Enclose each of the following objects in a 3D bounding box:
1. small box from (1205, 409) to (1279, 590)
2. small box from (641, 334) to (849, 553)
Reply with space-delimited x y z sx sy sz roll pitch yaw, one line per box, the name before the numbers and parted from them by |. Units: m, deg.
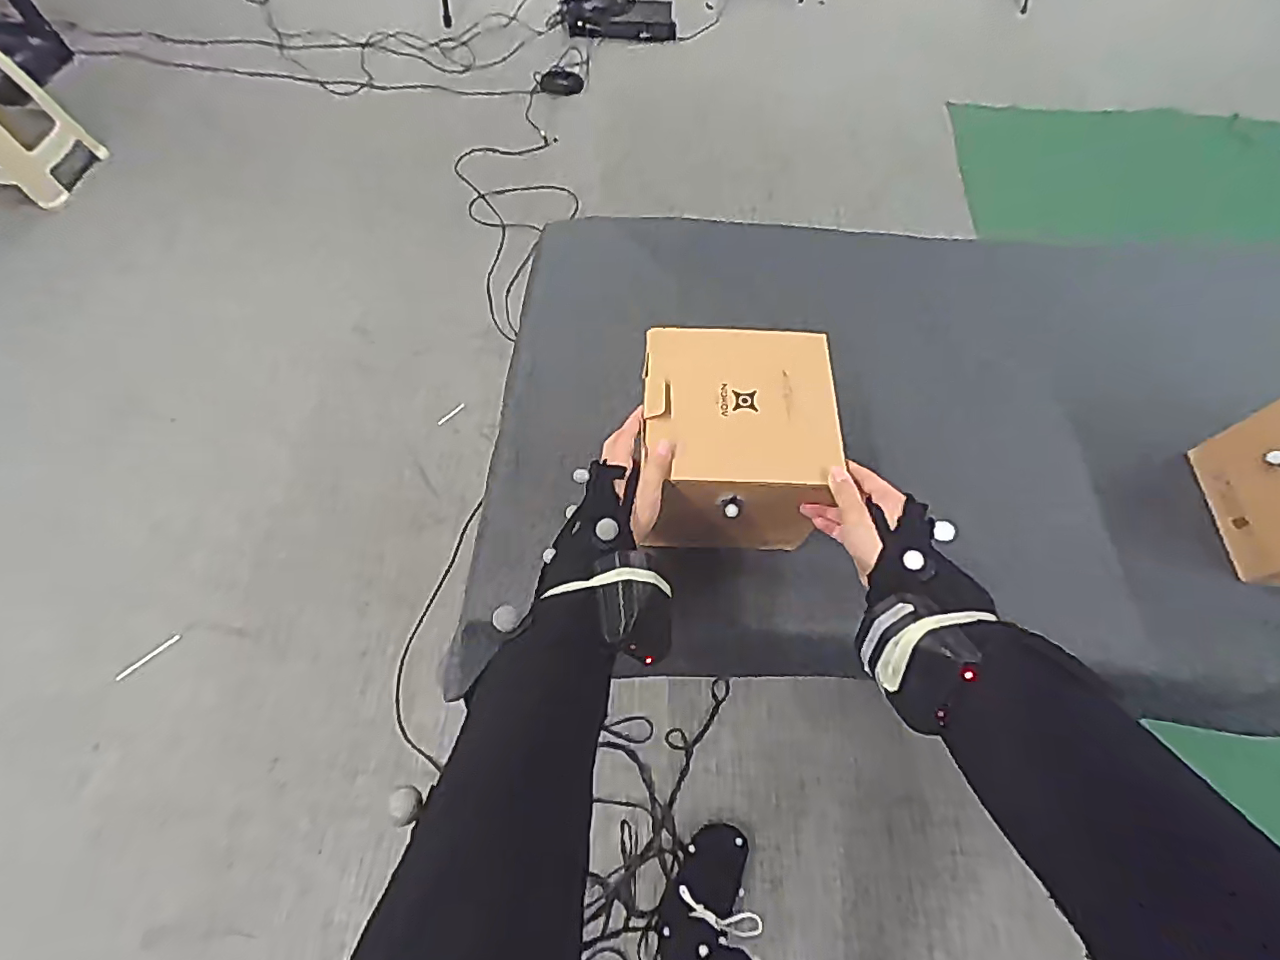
small box | 0.731 0.015 0.534 0.179 0.176 0.168 5 62 3
small box | 0.090 -0.029 0.558 0.179 0.176 0.168 2 64 -1
